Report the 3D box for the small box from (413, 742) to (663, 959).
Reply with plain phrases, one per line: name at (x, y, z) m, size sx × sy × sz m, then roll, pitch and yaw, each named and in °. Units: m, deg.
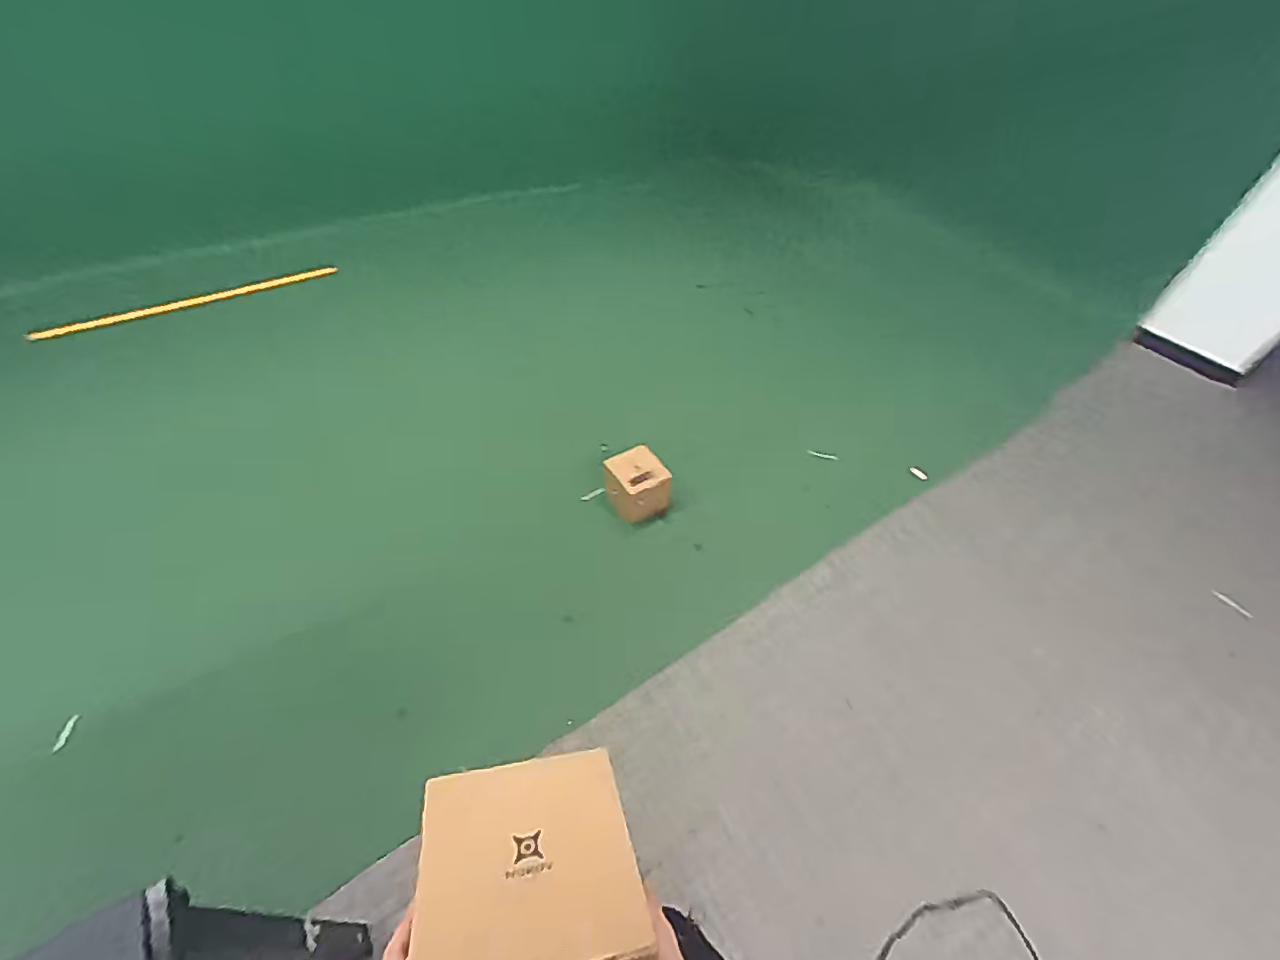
small box at (-0.089, 0.359, 0.450) m, size 0.168 × 0.176 × 0.179 m, roll -2°, pitch 21°, yaw -15°
